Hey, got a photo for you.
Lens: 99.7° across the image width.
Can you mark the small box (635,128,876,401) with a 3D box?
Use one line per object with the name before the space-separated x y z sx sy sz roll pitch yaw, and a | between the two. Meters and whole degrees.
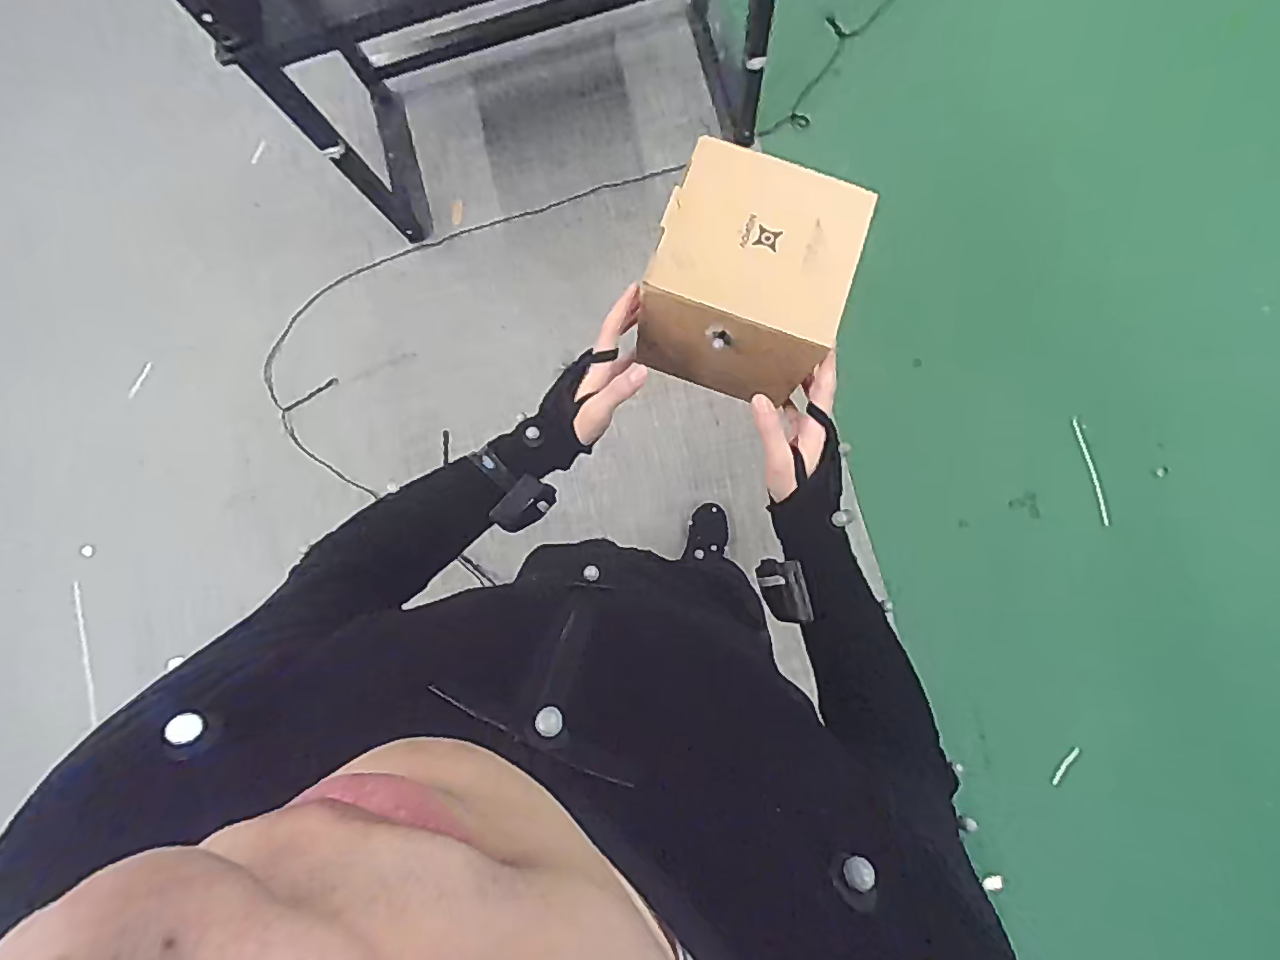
small box | 0.100 -0.199 0.546 0.179 0.176 0.168 20 78 2
